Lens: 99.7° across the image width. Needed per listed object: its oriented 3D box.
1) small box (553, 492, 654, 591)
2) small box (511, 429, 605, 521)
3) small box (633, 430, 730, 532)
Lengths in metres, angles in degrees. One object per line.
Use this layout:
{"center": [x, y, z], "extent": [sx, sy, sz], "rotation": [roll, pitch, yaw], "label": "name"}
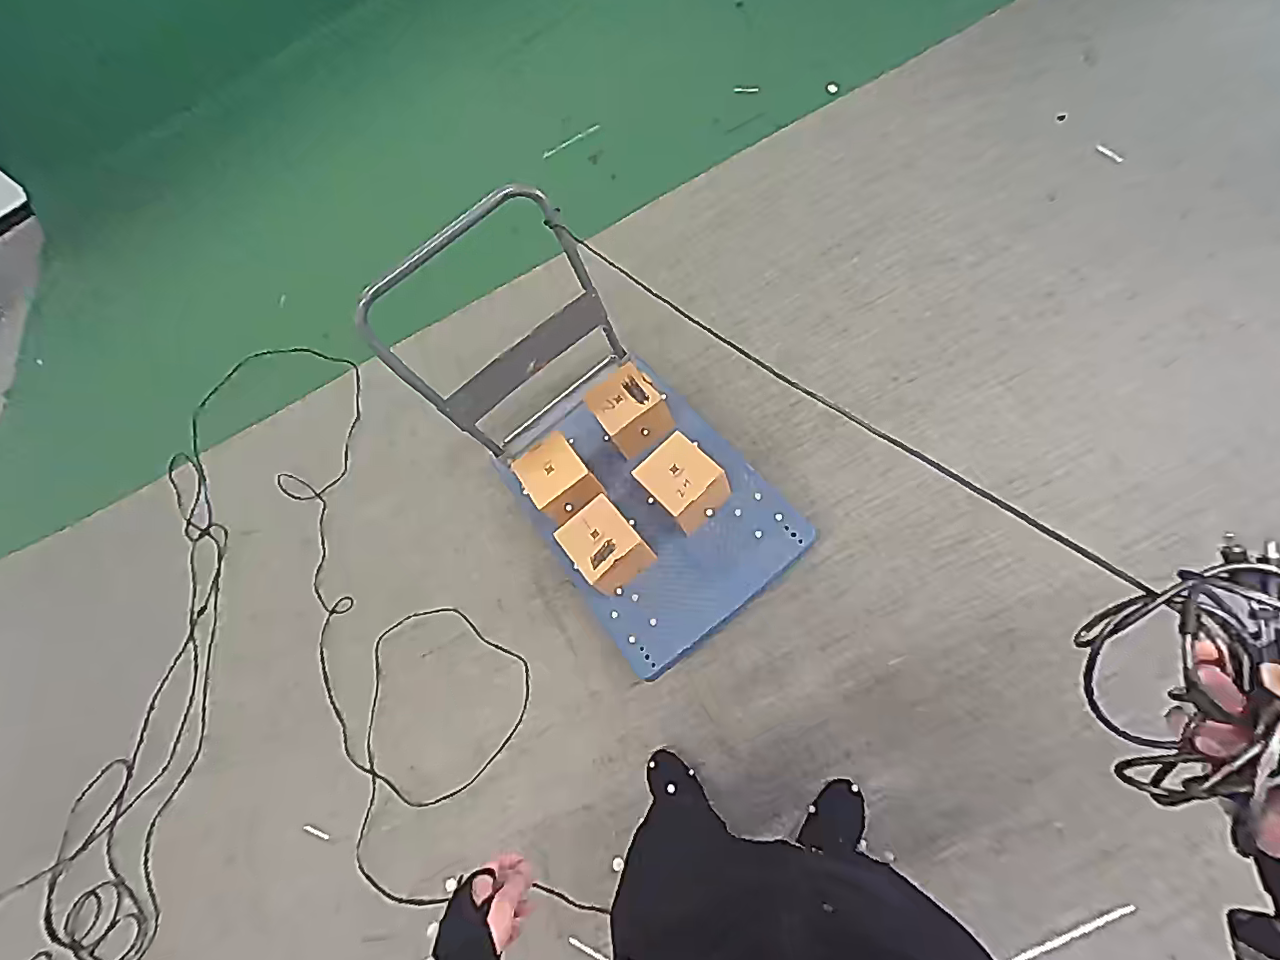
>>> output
{"center": [-0.087, 0.168, 1.393], "extent": [0.168, 0.176, 0.179], "rotation": [-39, 61, -4], "label": "small box"}
{"center": [-0.223, -0.004, 1.511], "extent": [0.168, 0.176, 0.179], "rotation": [-37, 62, -2], "label": "small box"}
{"center": [0.112, 0.009, 1.407], "extent": [0.168, 0.176, 0.179], "rotation": [-42, 62, -4], "label": "small box"}
